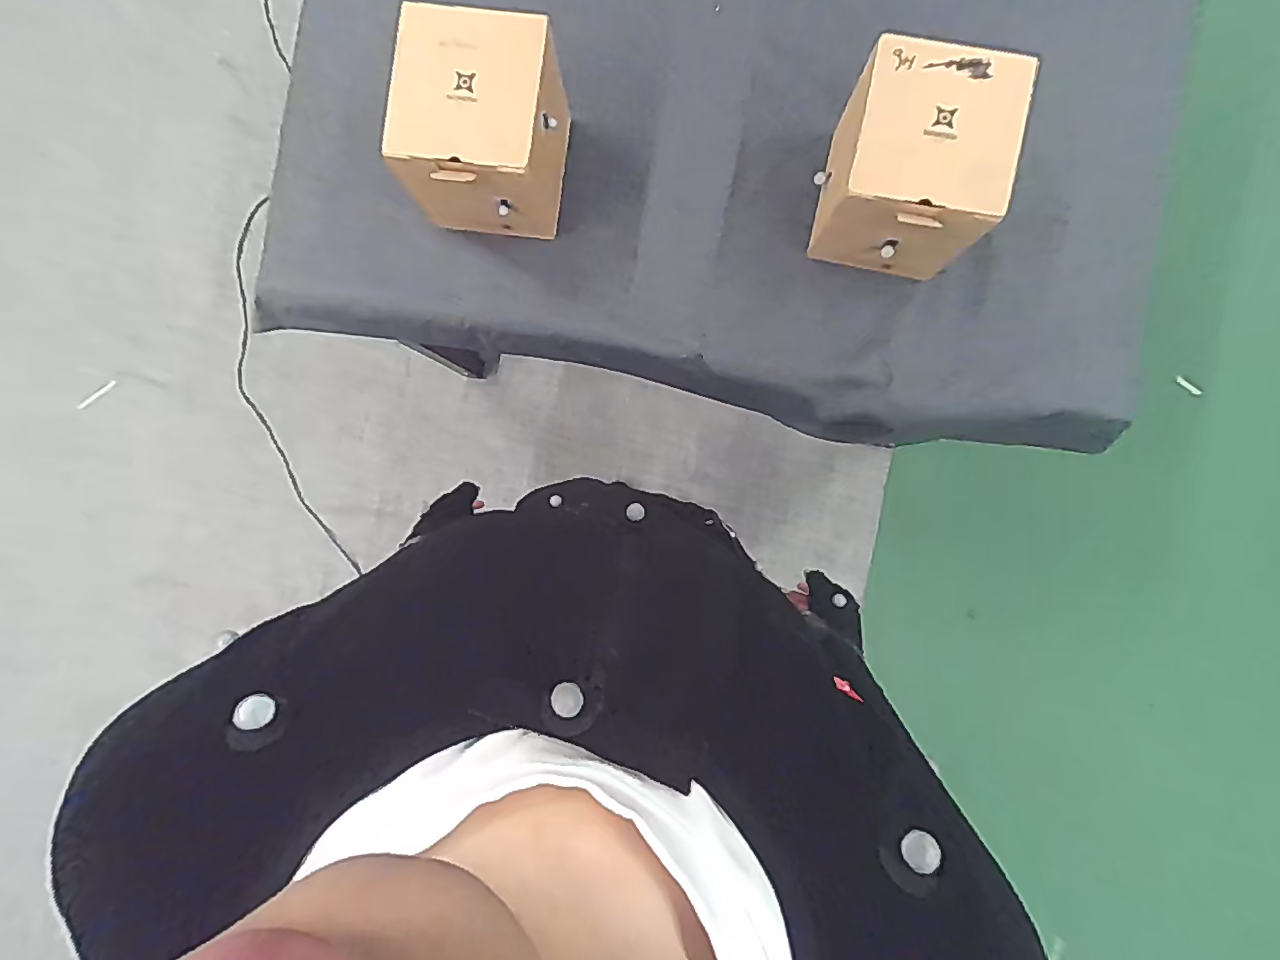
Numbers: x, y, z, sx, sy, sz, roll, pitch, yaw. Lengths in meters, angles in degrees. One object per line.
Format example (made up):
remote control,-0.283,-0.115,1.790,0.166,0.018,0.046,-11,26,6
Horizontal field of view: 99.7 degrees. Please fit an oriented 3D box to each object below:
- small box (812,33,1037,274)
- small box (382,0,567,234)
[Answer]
small box,0.318,-0.369,0.645,0.168,0.176,0.179,12,91,3
small box,-0.189,-0.431,0.669,0.168,0.176,0.179,7,88,1
